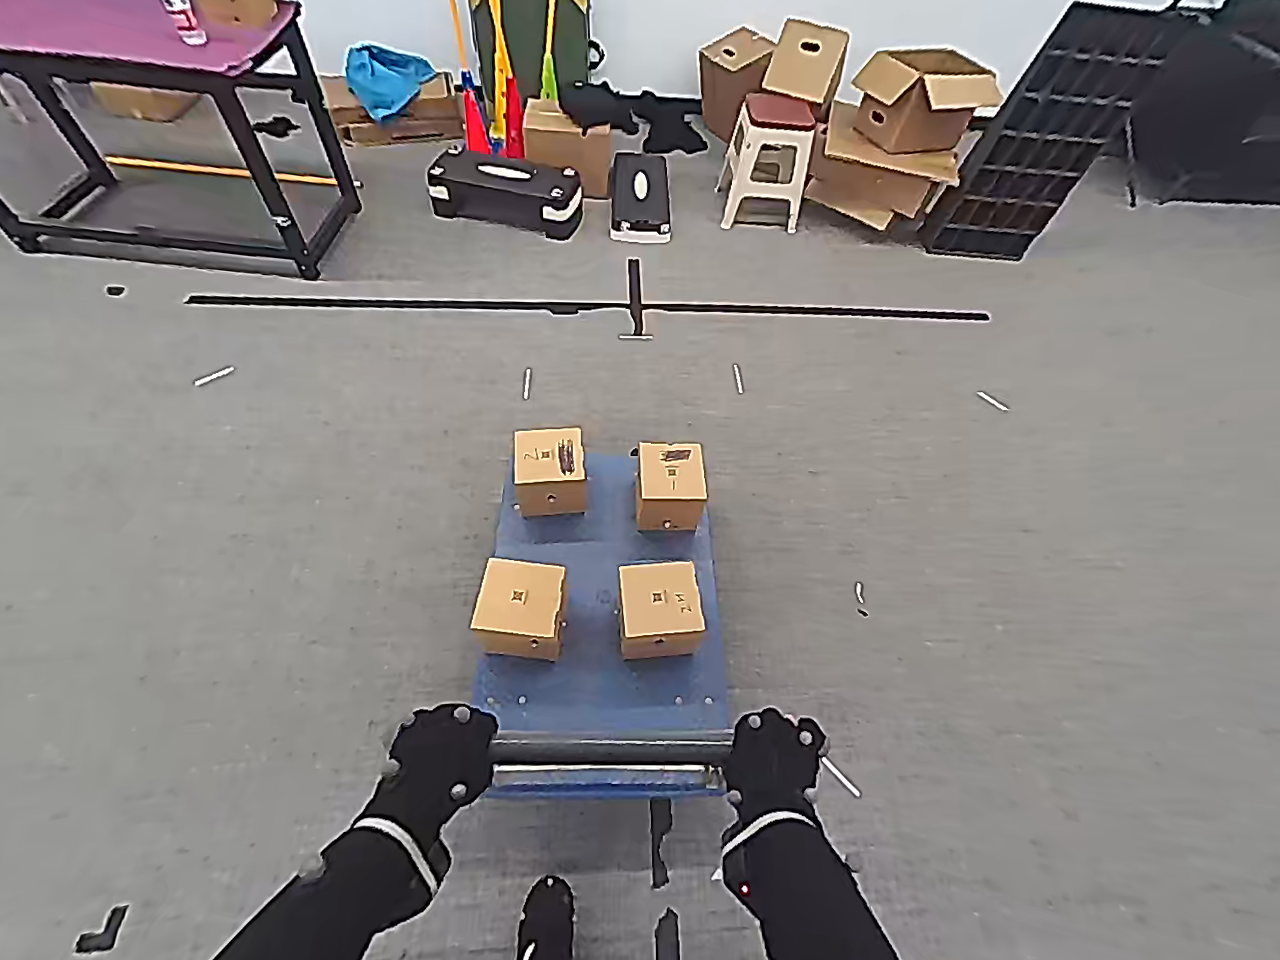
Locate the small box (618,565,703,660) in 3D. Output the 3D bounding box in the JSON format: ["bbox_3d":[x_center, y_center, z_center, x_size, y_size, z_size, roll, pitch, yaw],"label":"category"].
[{"bbox_3d":[0.039,0.313,1.261,0.179,0.176,0.168,-2,57,-7],"label":"small box"}]

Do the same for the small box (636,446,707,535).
[{"bbox_3d":[0.078,0.030,1.455,0.168,0.176,0.179,1,57,-5],"label":"small box"}]

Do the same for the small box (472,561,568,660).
[{"bbox_3d":[-0.266,0.303,1.239,0.179,0.176,0.168,8,55,-2],"label":"small box"}]
